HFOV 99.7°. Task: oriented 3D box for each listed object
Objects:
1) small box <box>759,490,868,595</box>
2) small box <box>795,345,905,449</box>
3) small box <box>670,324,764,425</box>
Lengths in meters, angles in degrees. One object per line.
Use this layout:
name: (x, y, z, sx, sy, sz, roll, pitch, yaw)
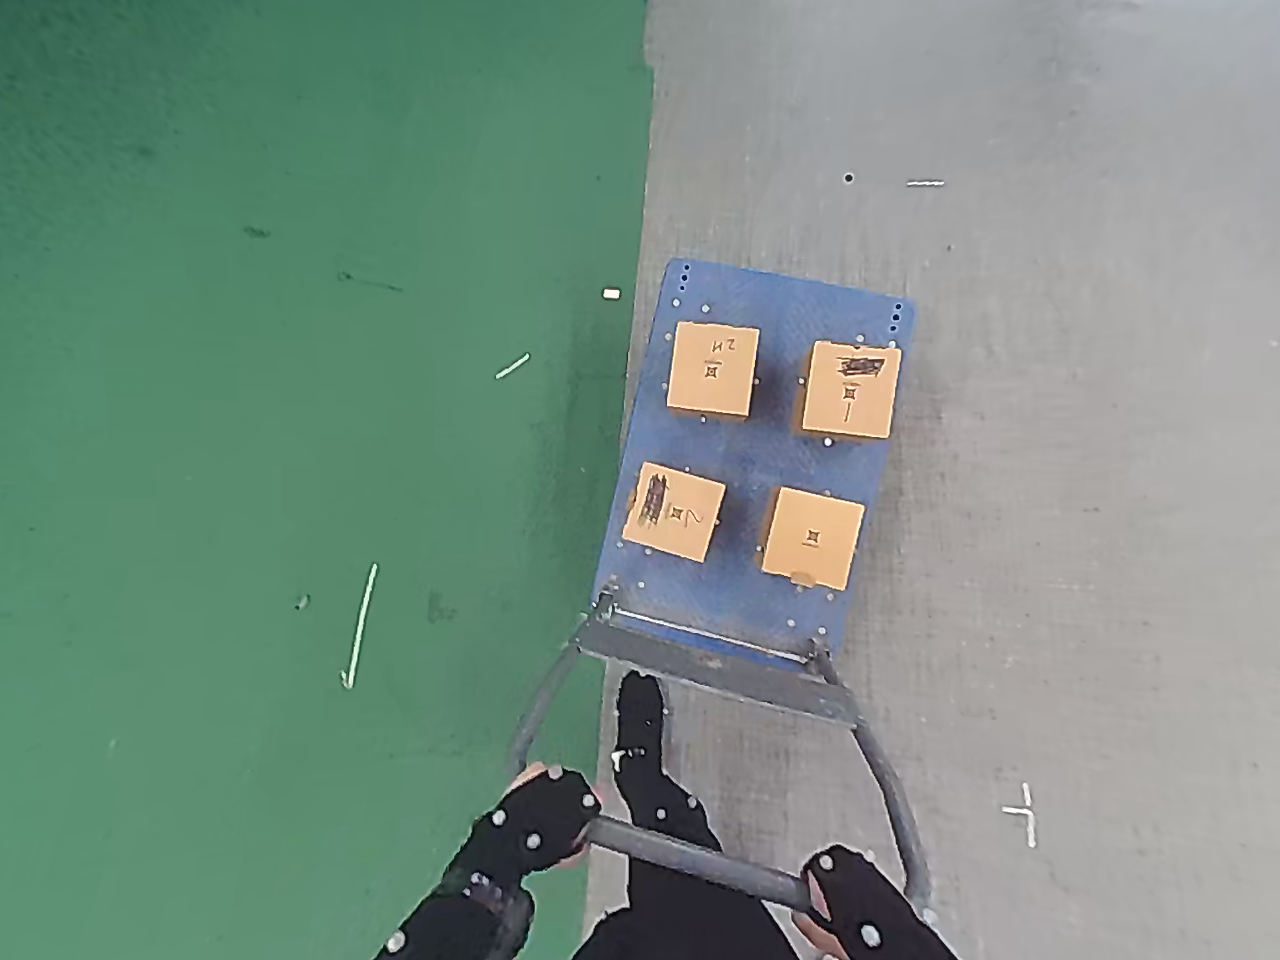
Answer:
small box: (0.352, 0.122, 1.134, 0.168, 0.176, 0.179, 14, 92, 7)
small box: (0.426, -0.166, 1.124, 0.168, 0.176, 0.179, 9, 91, 7)
small box: (0.162, -0.216, 1.156, 0.168, 0.176, 0.179, 8, 91, 6)
